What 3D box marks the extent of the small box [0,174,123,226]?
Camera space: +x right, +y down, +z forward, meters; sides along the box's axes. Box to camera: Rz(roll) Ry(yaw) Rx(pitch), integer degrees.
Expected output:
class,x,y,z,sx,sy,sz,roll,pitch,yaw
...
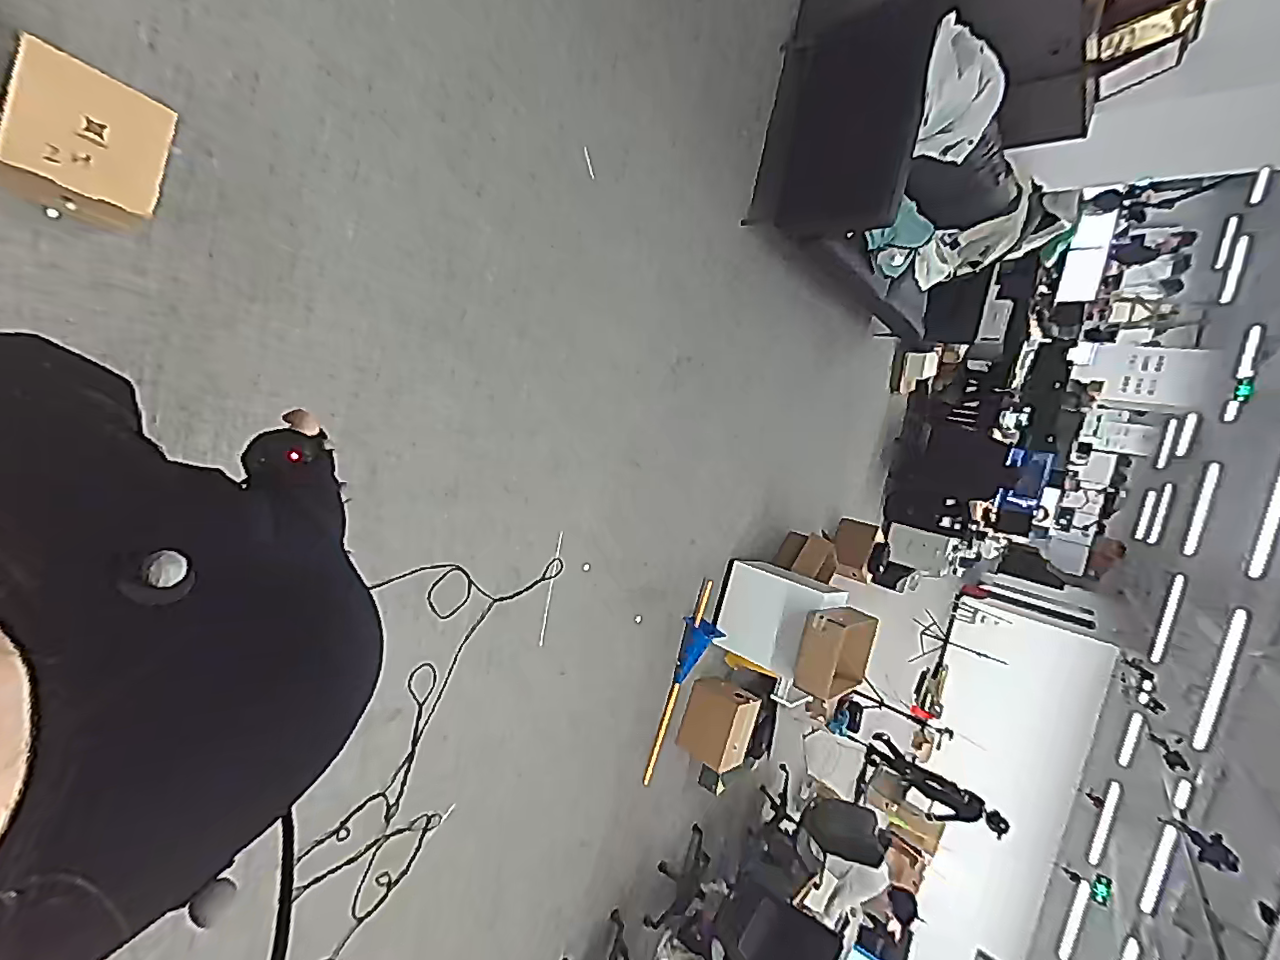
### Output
class,x,y,z,sx,sy,sz,roll,pitch,yaw
small box,-0.990,-0.563,0.929,0.168,0.176,0.179,16,92,-52

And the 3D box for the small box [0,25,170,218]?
class,x,y,z,sx,sy,sz,roll,pitch,yaw
small box,-0.863,-0.529,0.829,0.168,0.176,0.179,13,93,-52
